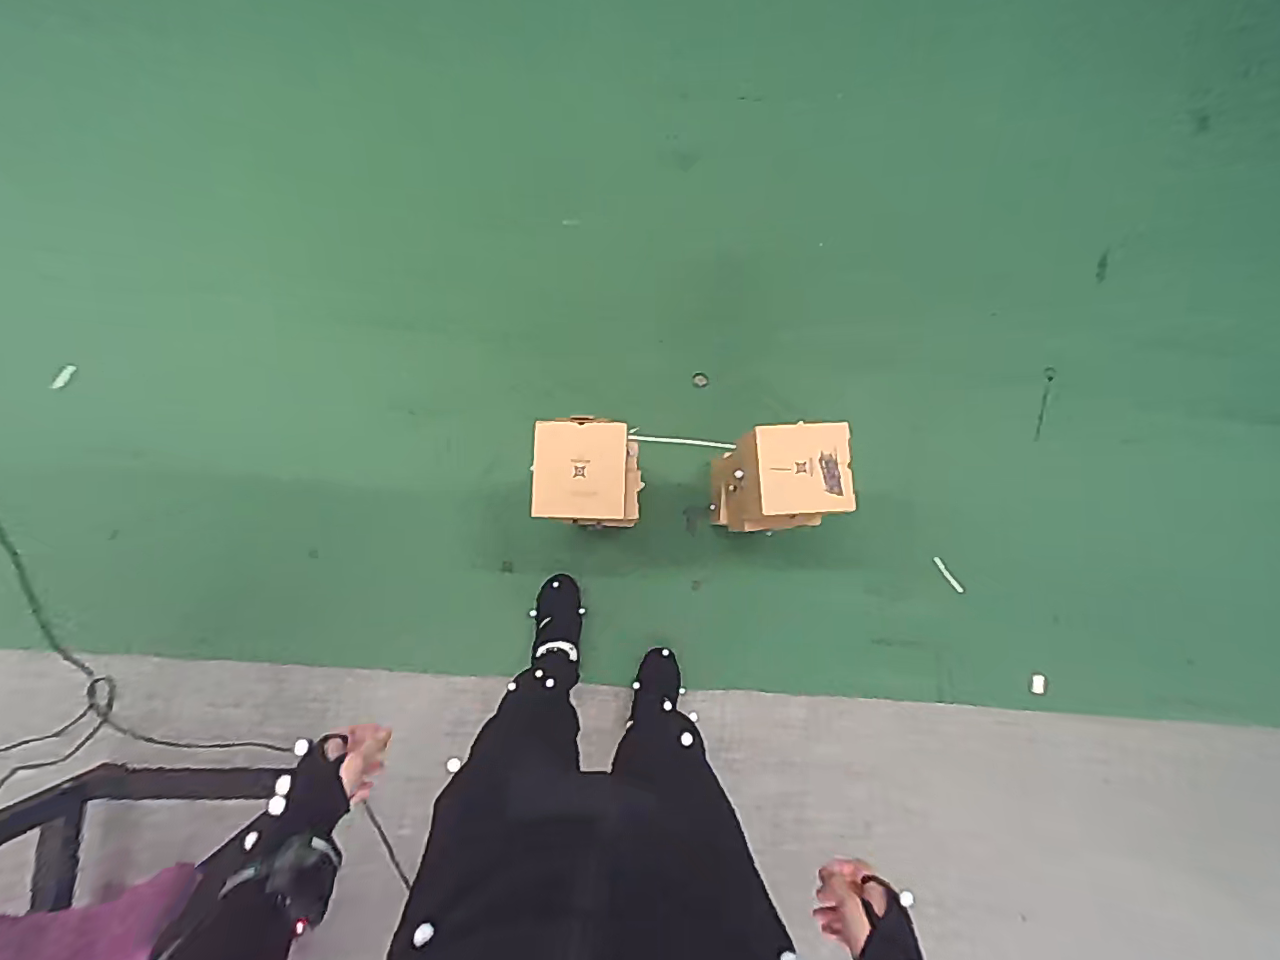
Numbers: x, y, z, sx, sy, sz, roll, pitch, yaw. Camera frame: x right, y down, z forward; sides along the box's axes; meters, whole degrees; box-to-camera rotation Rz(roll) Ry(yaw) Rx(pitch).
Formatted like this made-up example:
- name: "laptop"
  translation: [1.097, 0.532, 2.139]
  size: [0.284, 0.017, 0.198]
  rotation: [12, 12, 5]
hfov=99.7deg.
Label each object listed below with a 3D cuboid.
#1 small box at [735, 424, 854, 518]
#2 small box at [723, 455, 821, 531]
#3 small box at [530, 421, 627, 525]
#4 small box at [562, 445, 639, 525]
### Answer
- name: "small box"
  translation: [0.293, -0.012, 1.055]
  size: [0.179, 0.176, 0.168]
  rotation: [-3, 84, -2]
- name: "small box"
  translation: [0.287, 0.022, 1.216]
  size: [0.168, 0.176, 0.179]
  rotation: [-5, 86, -3]
- name: "small box"
  translation: [-0.110, -0.007, 1.040]
  size: [0.168, 0.176, 0.179]
  rotation: [2, 84, 0]
- name: "small box"
  translation: [-0.094, 0.013, 1.203]
  size: [0.179, 0.176, 0.168]
  rotation: [0, 83, -3]
